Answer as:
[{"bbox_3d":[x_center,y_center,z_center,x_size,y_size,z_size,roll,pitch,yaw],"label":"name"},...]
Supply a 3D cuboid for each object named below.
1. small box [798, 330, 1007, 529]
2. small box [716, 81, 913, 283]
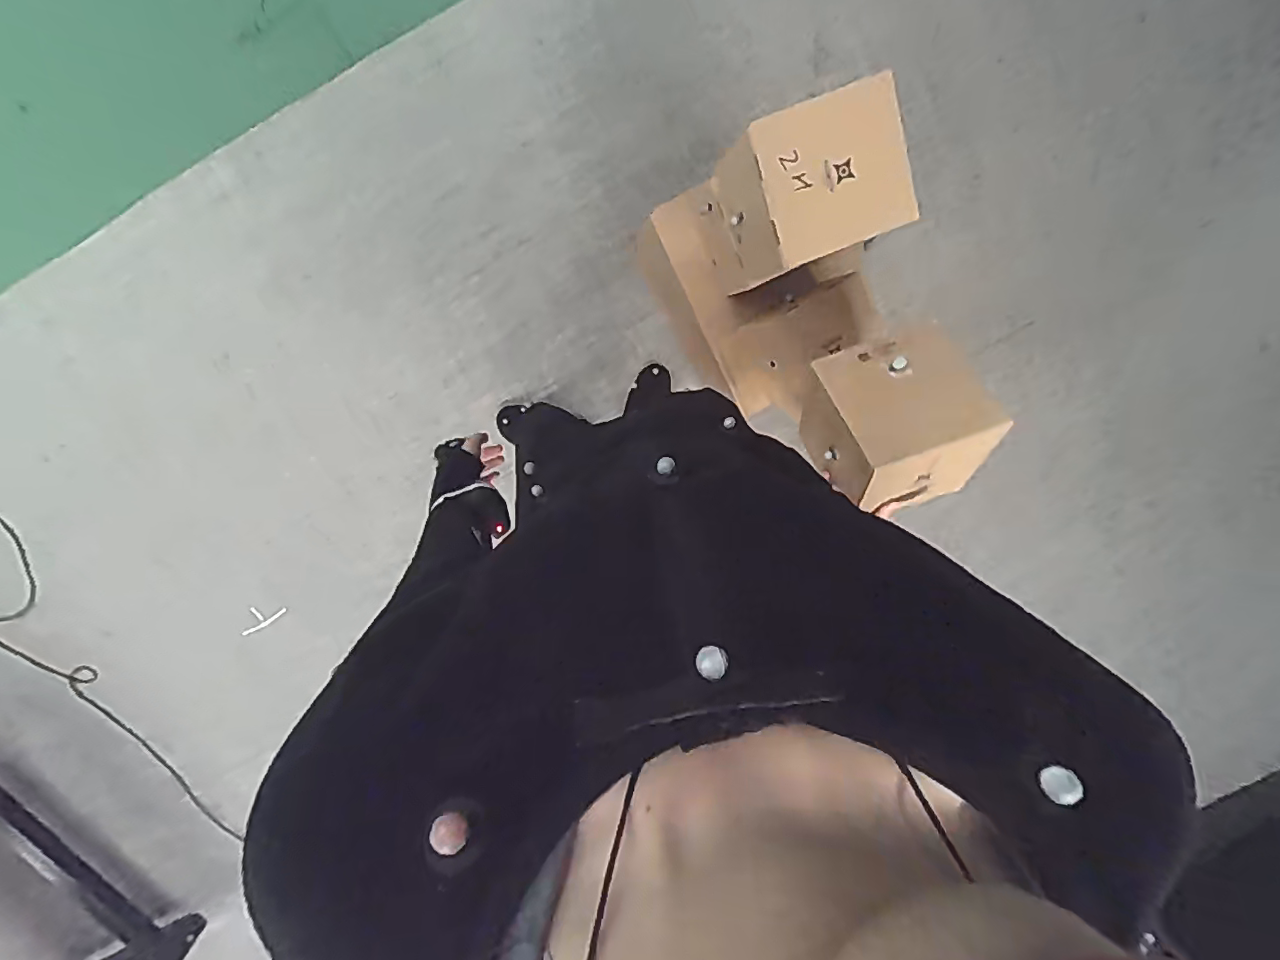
[{"bbox_3d":[0.320,-0.061,0.706,0.168,0.179,0.176,-18,62,1],"label":"small box"},{"bbox_3d":[0.219,-0.373,0.712,0.179,0.176,0.168,-20,105,1],"label":"small box"}]
